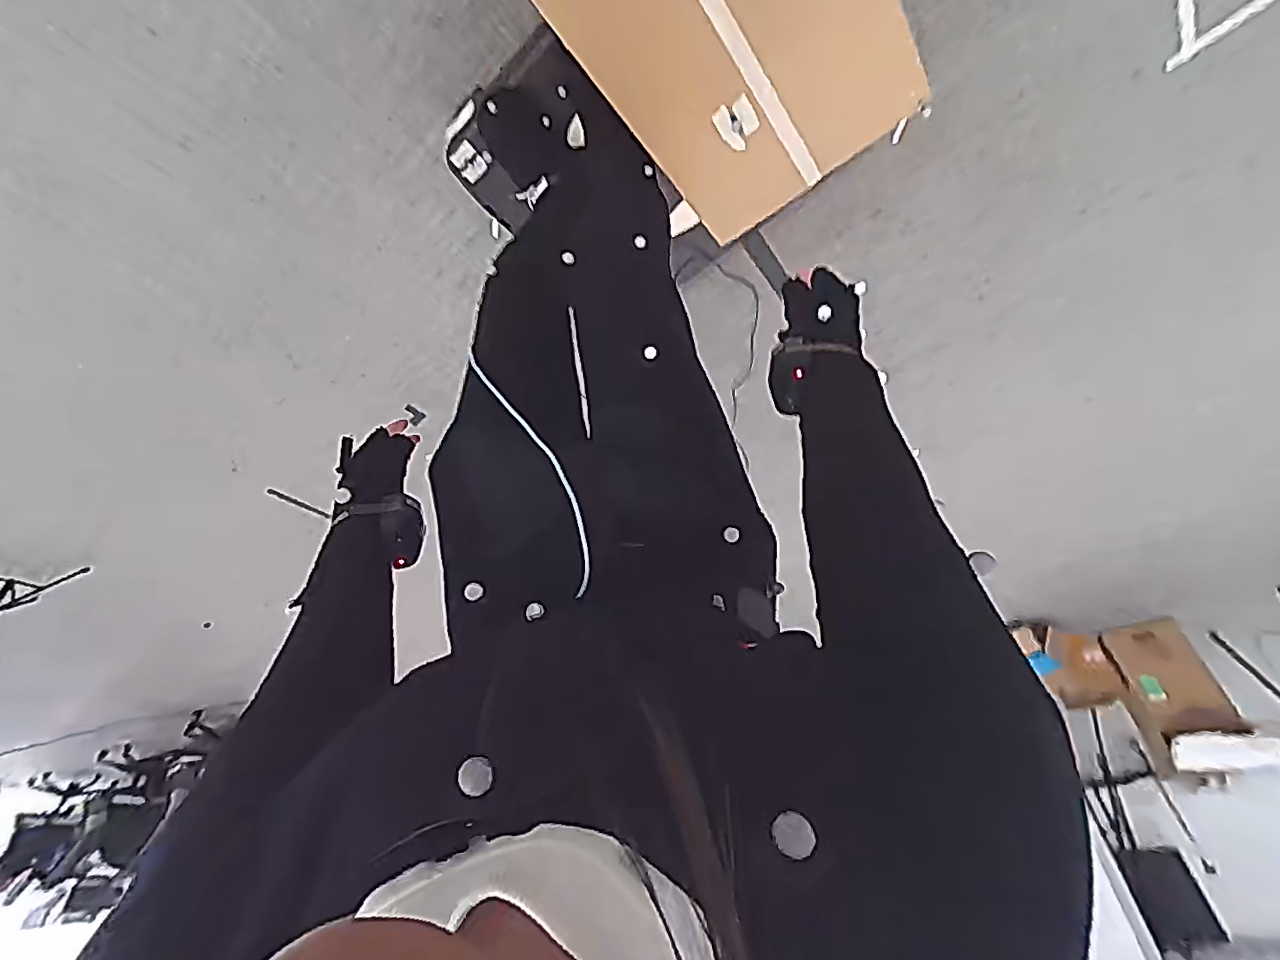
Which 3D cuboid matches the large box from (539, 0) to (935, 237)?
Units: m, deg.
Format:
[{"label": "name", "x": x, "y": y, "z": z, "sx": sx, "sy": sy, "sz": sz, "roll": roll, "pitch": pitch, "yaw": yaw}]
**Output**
[{"label": "large box", "x": 0.125, "y": -0.636, "z": 0.716, "sx": 0.320, "sy": 0.320, "sz": 0.408, "roll": -24, "pitch": 139, "yaw": 34}]
